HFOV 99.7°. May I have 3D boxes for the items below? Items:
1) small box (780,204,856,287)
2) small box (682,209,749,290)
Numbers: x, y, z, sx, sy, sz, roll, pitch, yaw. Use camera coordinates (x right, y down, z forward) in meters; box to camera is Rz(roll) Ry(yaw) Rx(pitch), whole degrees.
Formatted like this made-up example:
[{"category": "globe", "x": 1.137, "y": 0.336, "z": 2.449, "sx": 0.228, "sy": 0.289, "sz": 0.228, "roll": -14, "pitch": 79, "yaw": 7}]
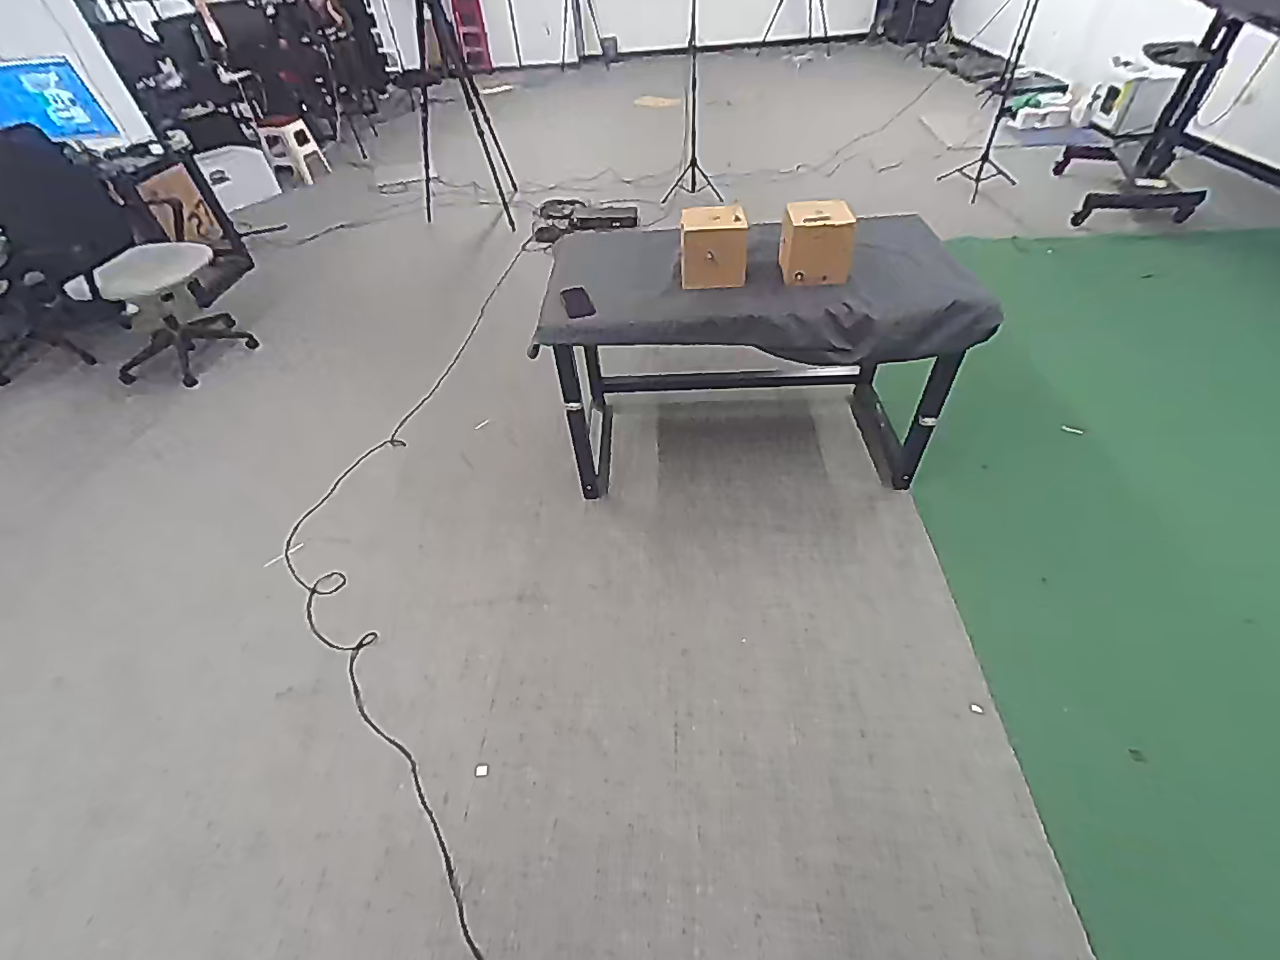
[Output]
[{"category": "small box", "x": 0.500, "y": -0.664, "z": 1.541, "sx": 0.168, "sy": 0.176, "sz": 0.179, "roll": 0, "pitch": 45, "yaw": 5}, {"category": "small box", "x": 0.215, "y": -0.661, "z": 1.563, "sx": 0.179, "sy": 0.176, "sz": 0.168, "roll": -2, "pitch": 46, "yaw": 4}]
